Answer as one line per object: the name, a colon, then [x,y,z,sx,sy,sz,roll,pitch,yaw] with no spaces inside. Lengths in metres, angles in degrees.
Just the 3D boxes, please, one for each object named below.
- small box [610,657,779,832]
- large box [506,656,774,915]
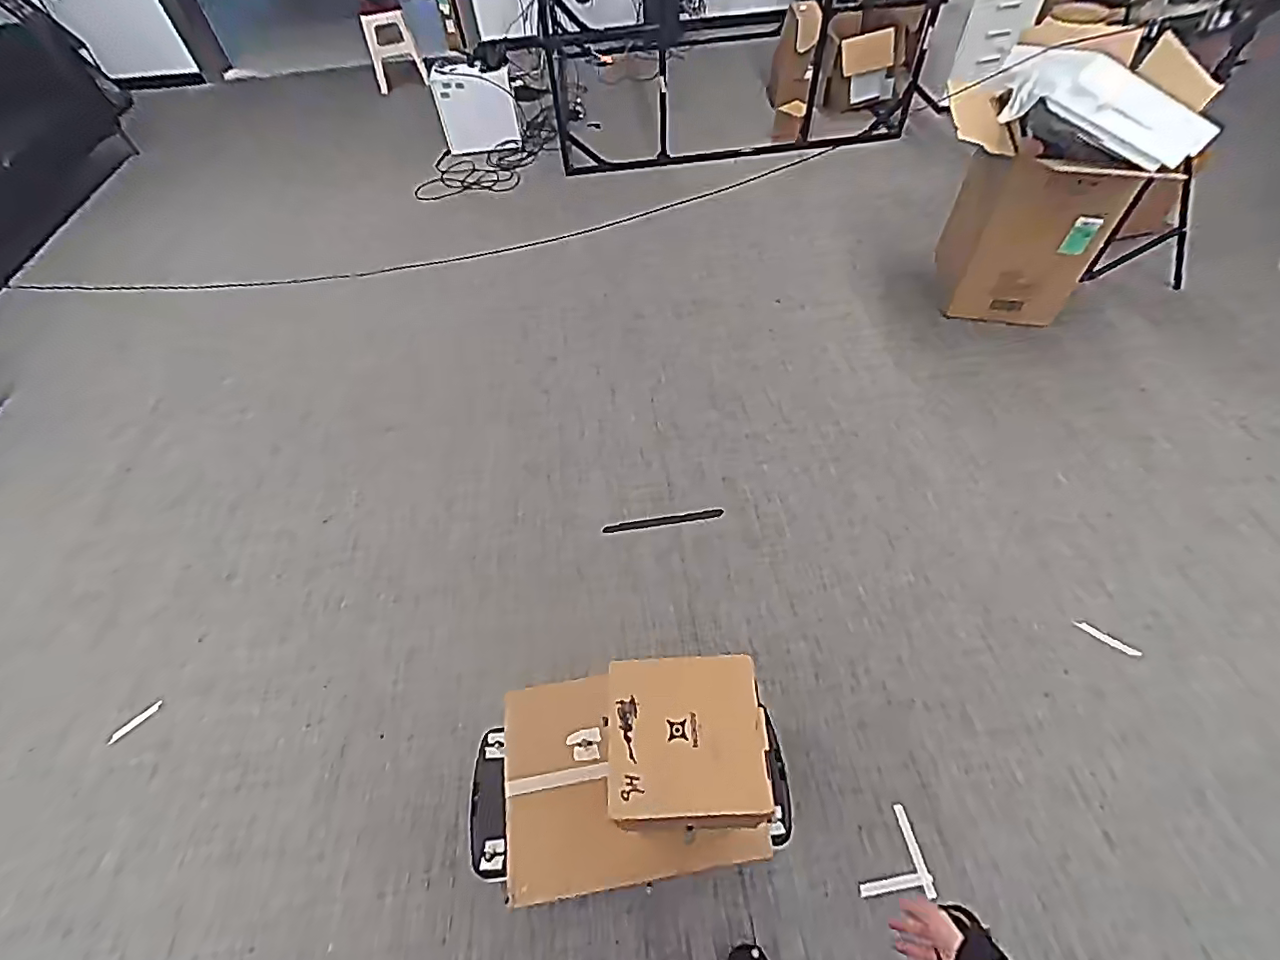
small box: [0.057,0.325,0.661,0.179,0.176,0.168,-2,53,1]
large box: [-0.006,0.560,1.001,0.408,0.320,0.320,-10,53,-2]
